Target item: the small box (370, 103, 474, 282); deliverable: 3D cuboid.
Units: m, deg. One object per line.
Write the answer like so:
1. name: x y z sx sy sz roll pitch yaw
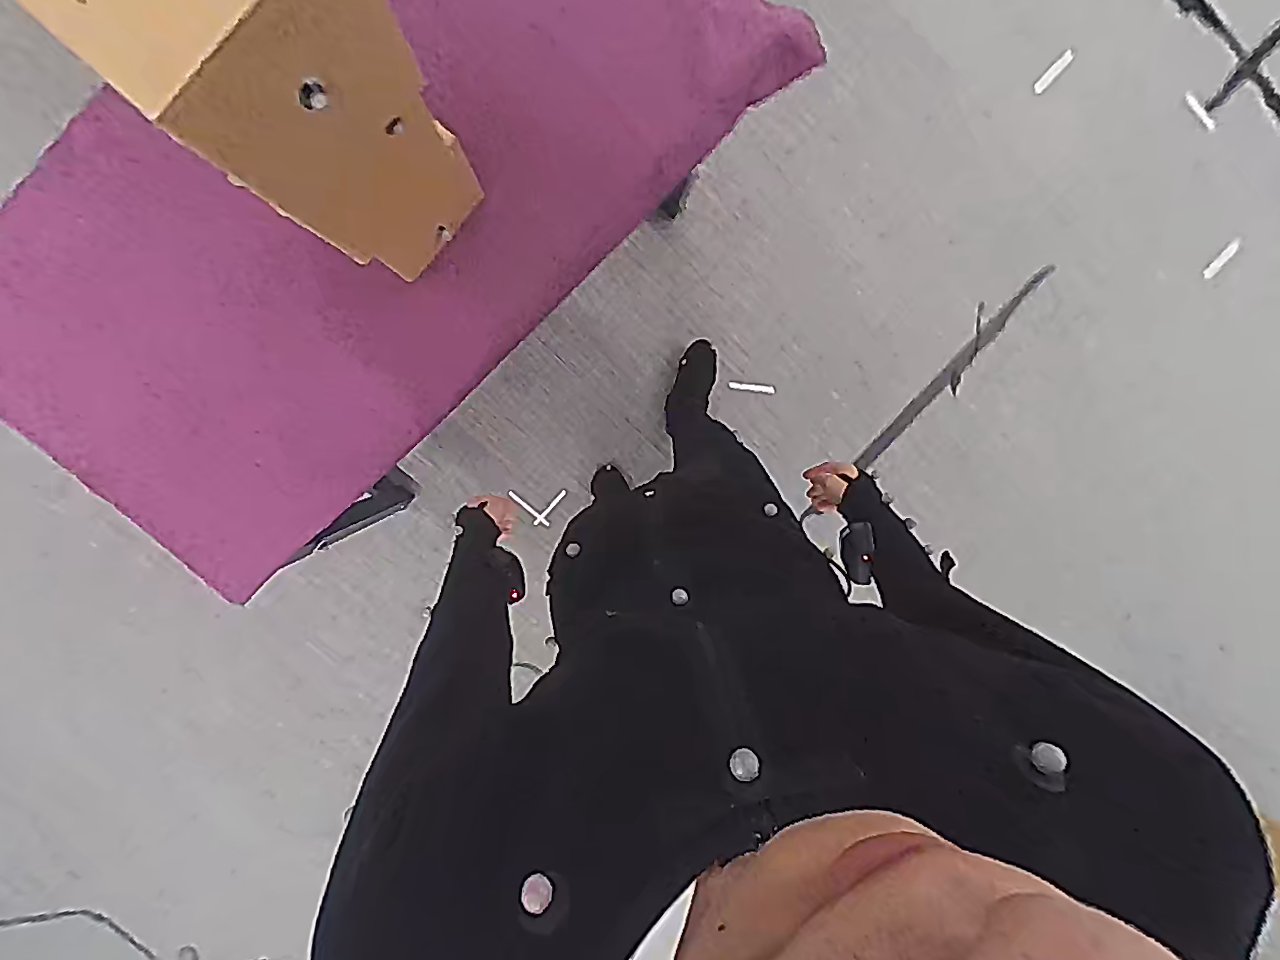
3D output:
1. small box: -0.344 -0.401 0.723 0.168 0.176 0.179 40 91 -6

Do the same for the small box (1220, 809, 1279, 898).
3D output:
1. small box: 1.782 1.056 1.483 0.179 0.176 0.168 41 90 -7

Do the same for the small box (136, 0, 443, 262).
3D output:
1. small box: -0.336 -0.363 0.563 0.168 0.176 0.179 40 91 -7
